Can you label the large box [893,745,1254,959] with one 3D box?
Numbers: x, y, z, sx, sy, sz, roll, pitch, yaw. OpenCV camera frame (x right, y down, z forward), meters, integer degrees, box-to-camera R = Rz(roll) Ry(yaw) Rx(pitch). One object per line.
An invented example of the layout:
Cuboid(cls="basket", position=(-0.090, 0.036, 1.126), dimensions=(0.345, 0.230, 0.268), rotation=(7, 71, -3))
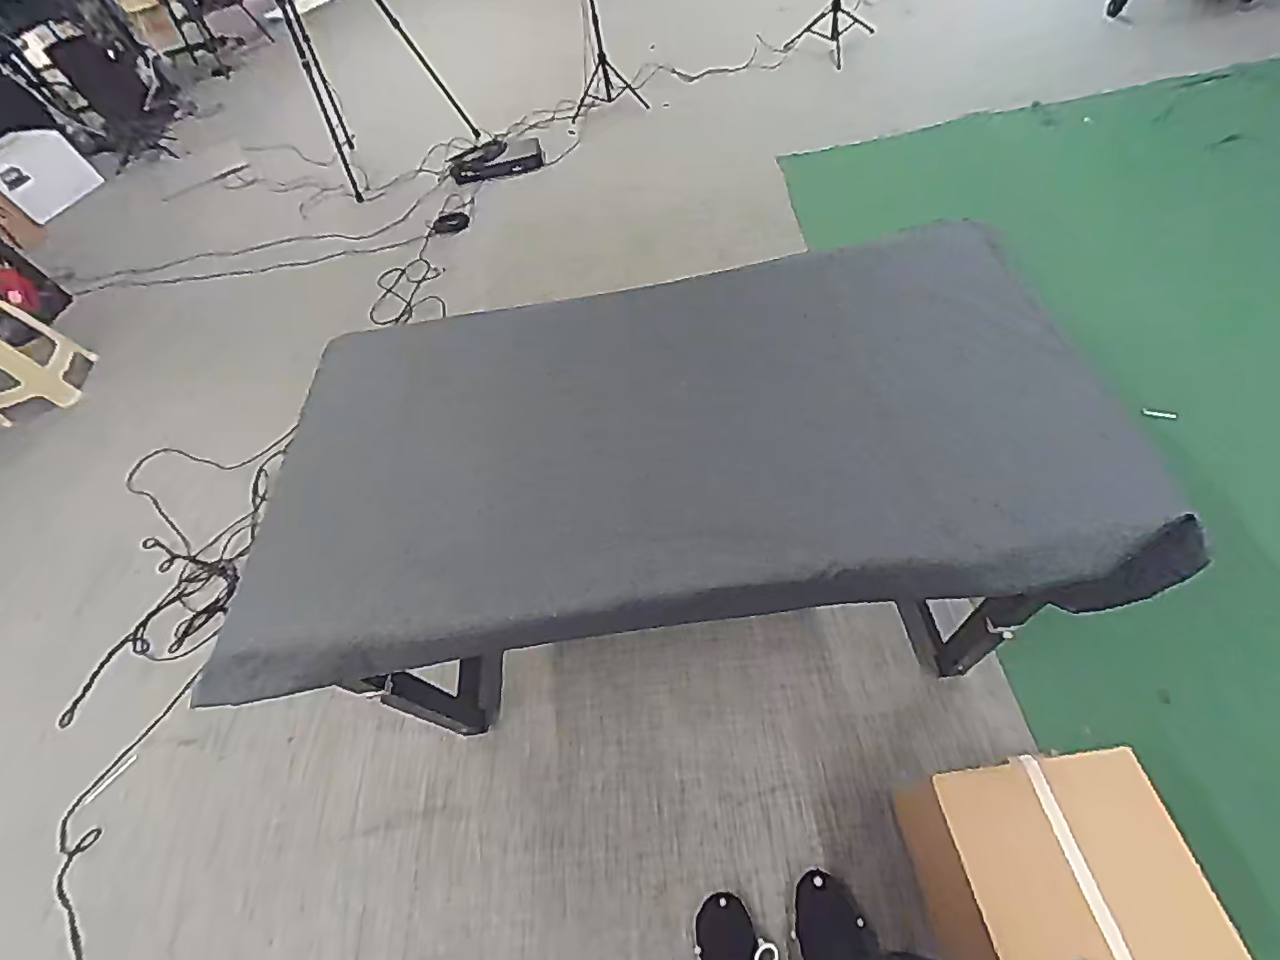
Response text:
Cuboid(cls="large box", position=(0.666, 0.688, 0.869), dimensions=(0.320, 0.320, 0.408), rotation=(-11, 55, 4))
